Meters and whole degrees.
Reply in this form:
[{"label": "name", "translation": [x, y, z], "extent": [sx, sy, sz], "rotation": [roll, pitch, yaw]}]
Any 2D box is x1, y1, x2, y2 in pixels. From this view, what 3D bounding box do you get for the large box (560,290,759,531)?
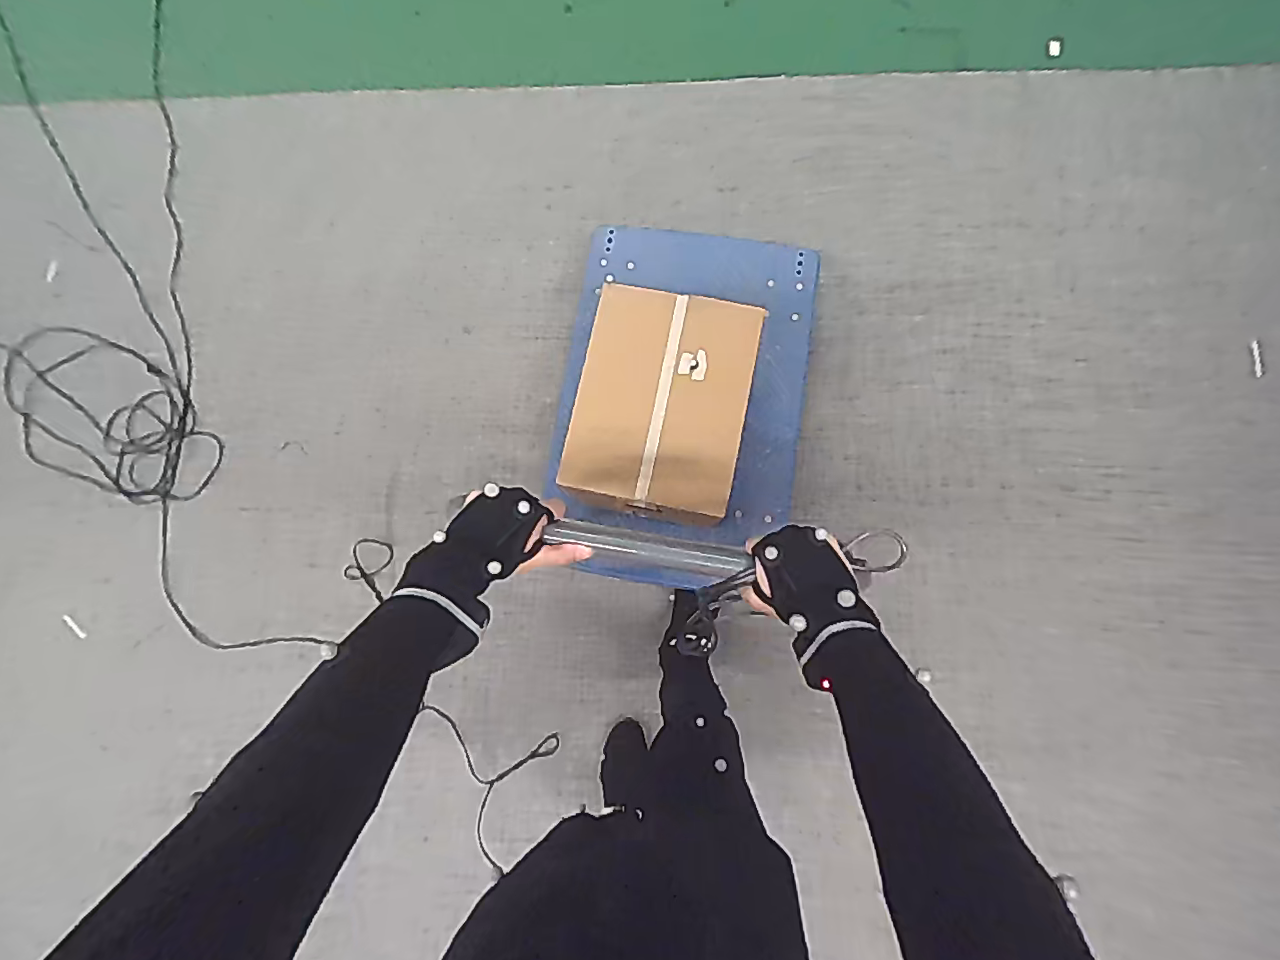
[{"label": "large box", "translation": [0.047, -0.124, 1.148], "extent": [0.320, 0.320, 0.408], "rotation": [12, 81, 5]}]
